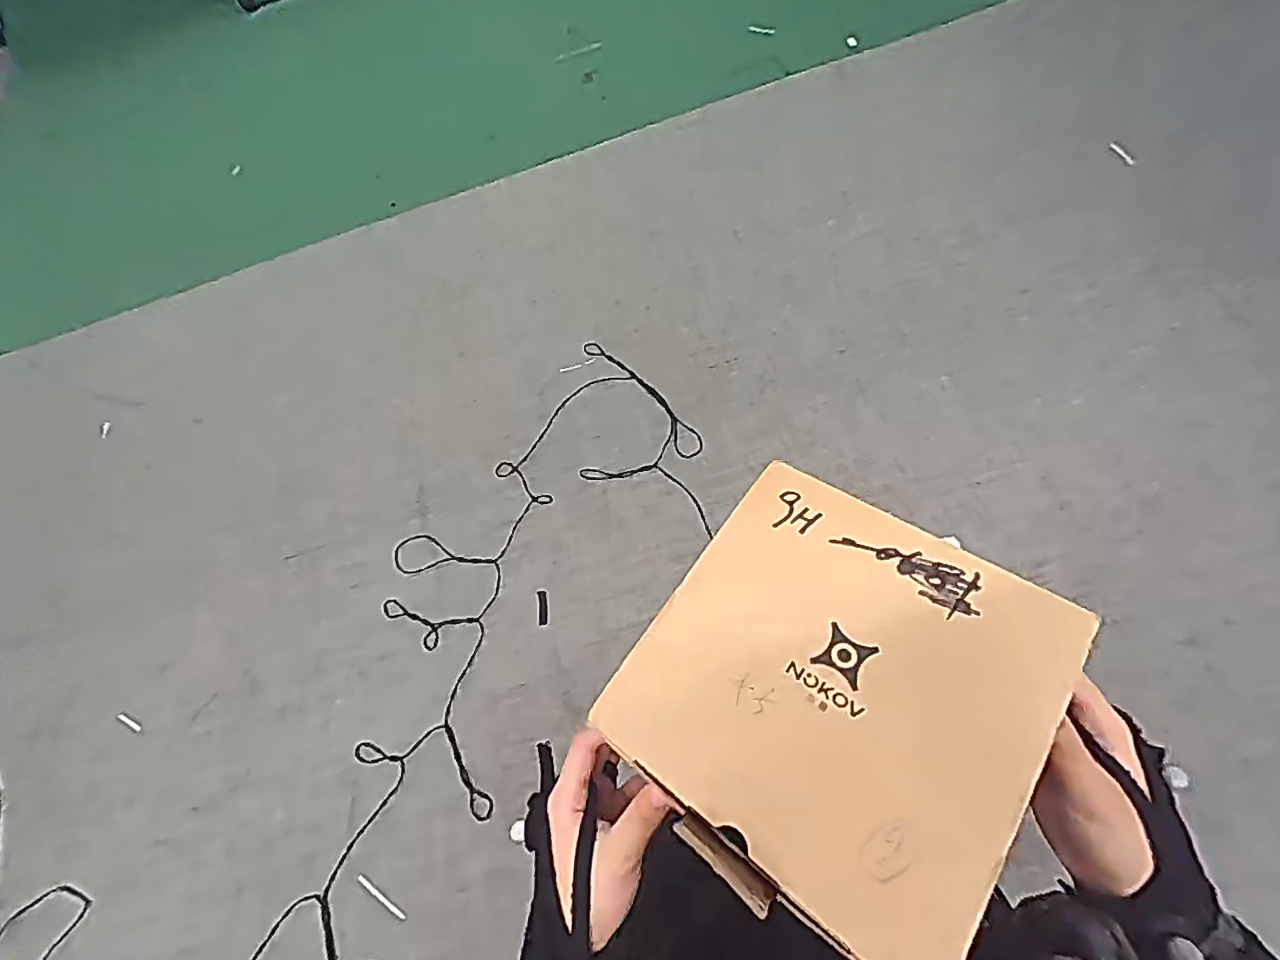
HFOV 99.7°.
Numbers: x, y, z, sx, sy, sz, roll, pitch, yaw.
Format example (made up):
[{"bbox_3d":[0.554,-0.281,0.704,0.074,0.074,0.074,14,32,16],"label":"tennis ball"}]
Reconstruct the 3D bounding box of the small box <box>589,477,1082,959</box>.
[{"bbox_3d":[0.103,0.137,0.321,0.168,0.176,0.179,30,70,26],"label":"small box"}]
